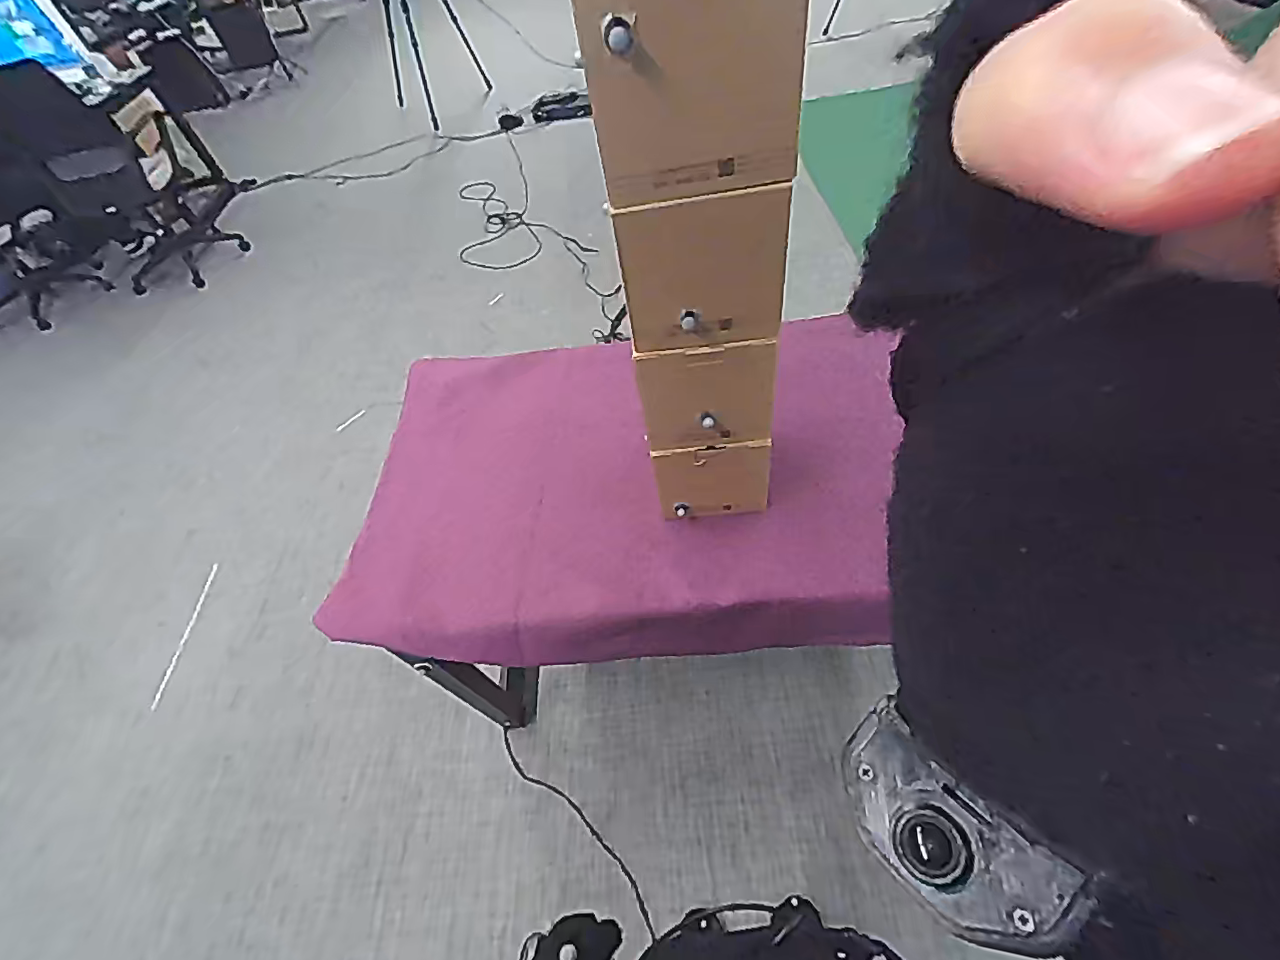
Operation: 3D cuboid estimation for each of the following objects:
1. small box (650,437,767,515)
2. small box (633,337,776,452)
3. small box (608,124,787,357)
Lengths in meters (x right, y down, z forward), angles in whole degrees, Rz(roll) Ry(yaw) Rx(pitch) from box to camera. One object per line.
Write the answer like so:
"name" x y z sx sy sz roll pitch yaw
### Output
"small box" 0.106 -0.056 0.853 0.168 0.176 0.179 -5 52 6
"small box" 0.083 -0.161 0.729 0.168 0.176 0.179 -6 53 6
"small box" 0.061 -0.262 0.604 0.168 0.176 0.179 -6 52 6
